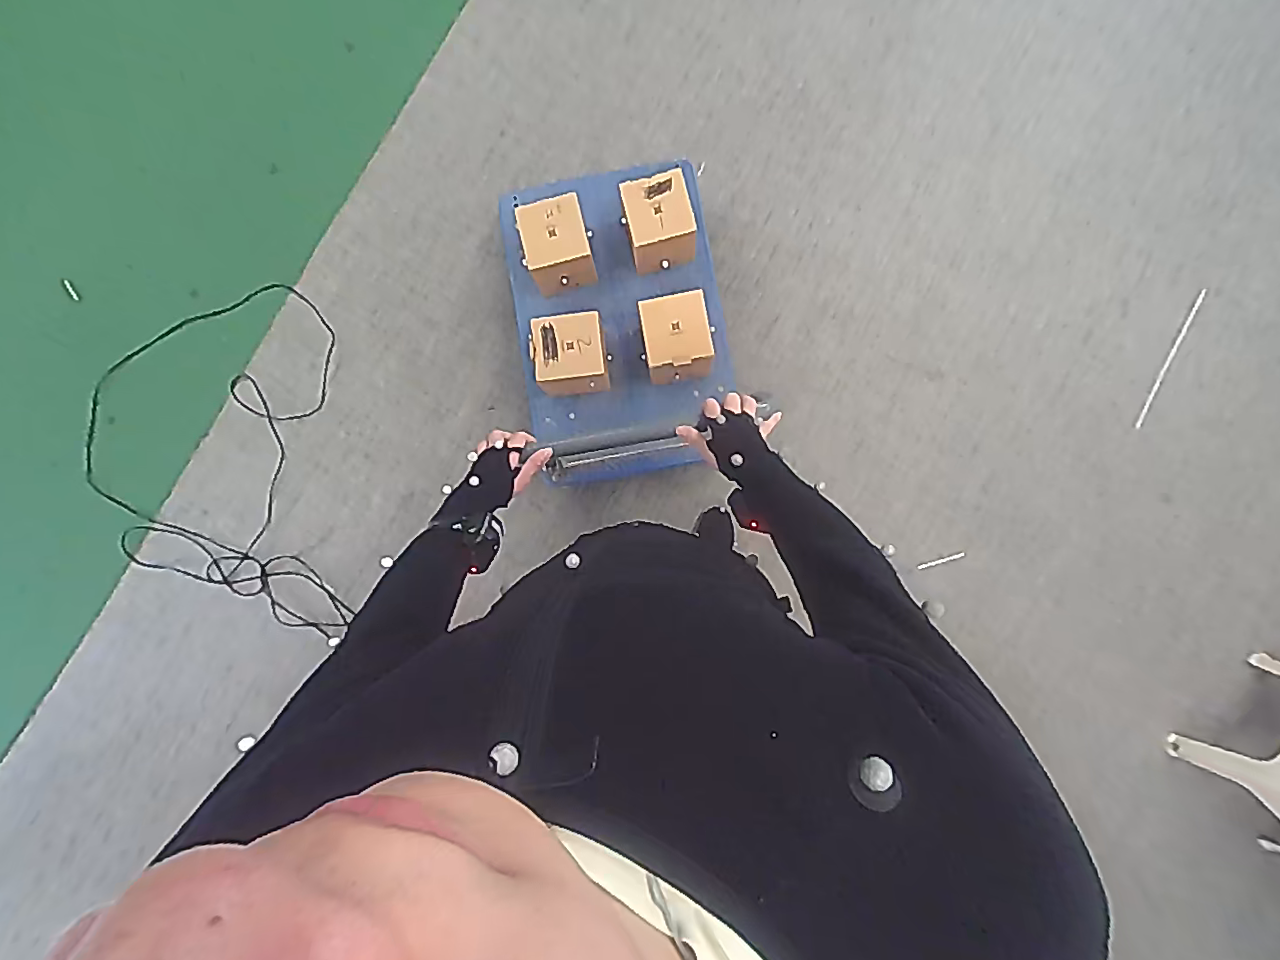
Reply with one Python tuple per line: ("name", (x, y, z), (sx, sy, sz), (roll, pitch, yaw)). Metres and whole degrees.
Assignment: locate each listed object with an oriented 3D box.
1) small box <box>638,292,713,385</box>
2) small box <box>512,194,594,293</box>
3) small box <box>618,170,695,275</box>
("small box", (0.090, -0.366, 1.421), (0.168, 0.176, 0.179), (-11, 86, 2))
("small box", (-0.227, -0.624, 1.454), (0.168, 0.176, 0.179), (-14, 85, 1))
("small box", (0.043, -0.680, 1.446), (0.168, 0.176, 0.179), (-14, 86, 2))
